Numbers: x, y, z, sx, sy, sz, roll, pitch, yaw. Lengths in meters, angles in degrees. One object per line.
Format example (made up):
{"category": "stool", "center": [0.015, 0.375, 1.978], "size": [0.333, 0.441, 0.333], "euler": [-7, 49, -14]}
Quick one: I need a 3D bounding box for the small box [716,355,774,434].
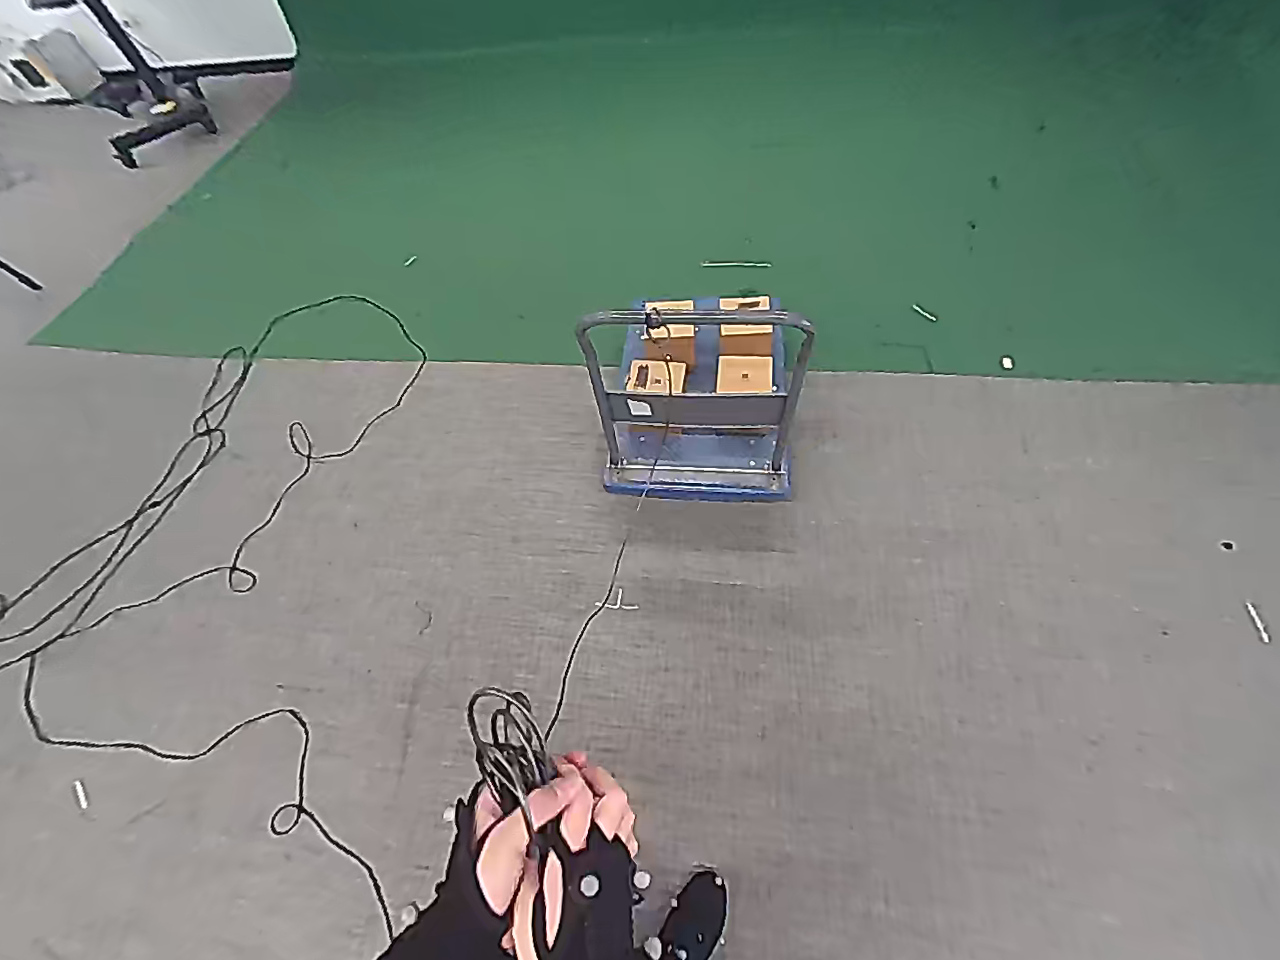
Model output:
{"category": "small box", "center": [0.329, -0.270, 1.709], "size": [0.168, 0.176, 0.179], "euler": [4, 59, 8]}

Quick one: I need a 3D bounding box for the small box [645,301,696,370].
{"category": "small box", "center": [0.110, -0.496, 1.875], "size": [0.168, 0.176, 0.179], "euler": [0, 58, 5]}

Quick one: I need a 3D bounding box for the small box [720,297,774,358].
{"category": "small box", "center": [0.360, -0.499, 1.848], "size": [0.168, 0.176, 0.179], "euler": [-1, 59, 7]}
